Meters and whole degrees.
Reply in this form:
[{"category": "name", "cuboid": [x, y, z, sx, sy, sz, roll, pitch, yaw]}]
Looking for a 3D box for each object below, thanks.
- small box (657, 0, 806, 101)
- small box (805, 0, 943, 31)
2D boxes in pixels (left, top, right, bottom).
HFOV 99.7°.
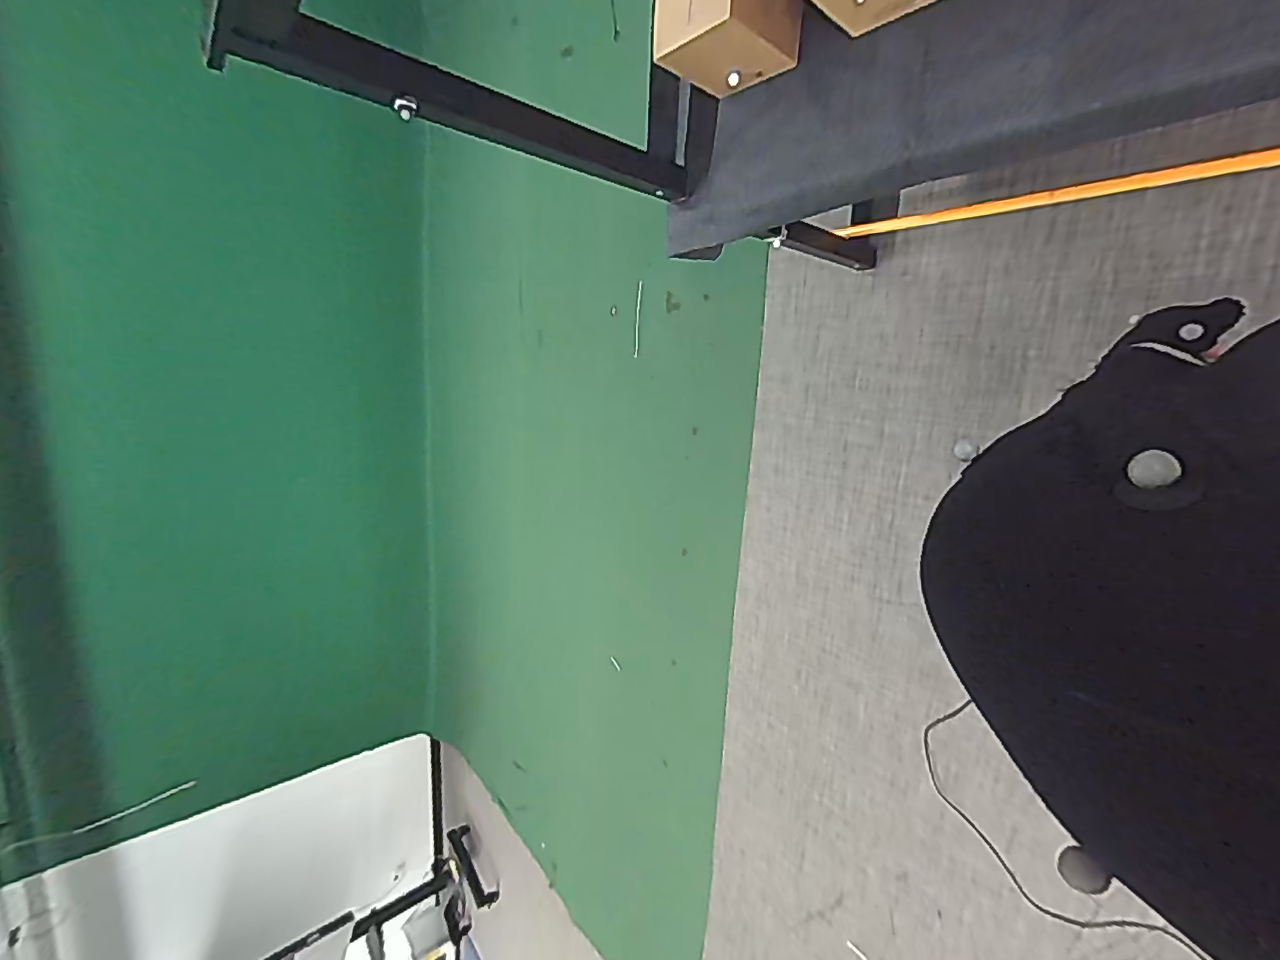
[{"category": "small box", "cuboid": [0.147, -0.747, 0.853, 0.168, 0.176, 0.179, 16, 107, 48]}, {"category": "small box", "cuboid": [0.313, -0.704, 0.666, 0.168, 0.176, 0.179, 15, 106, 48]}]
